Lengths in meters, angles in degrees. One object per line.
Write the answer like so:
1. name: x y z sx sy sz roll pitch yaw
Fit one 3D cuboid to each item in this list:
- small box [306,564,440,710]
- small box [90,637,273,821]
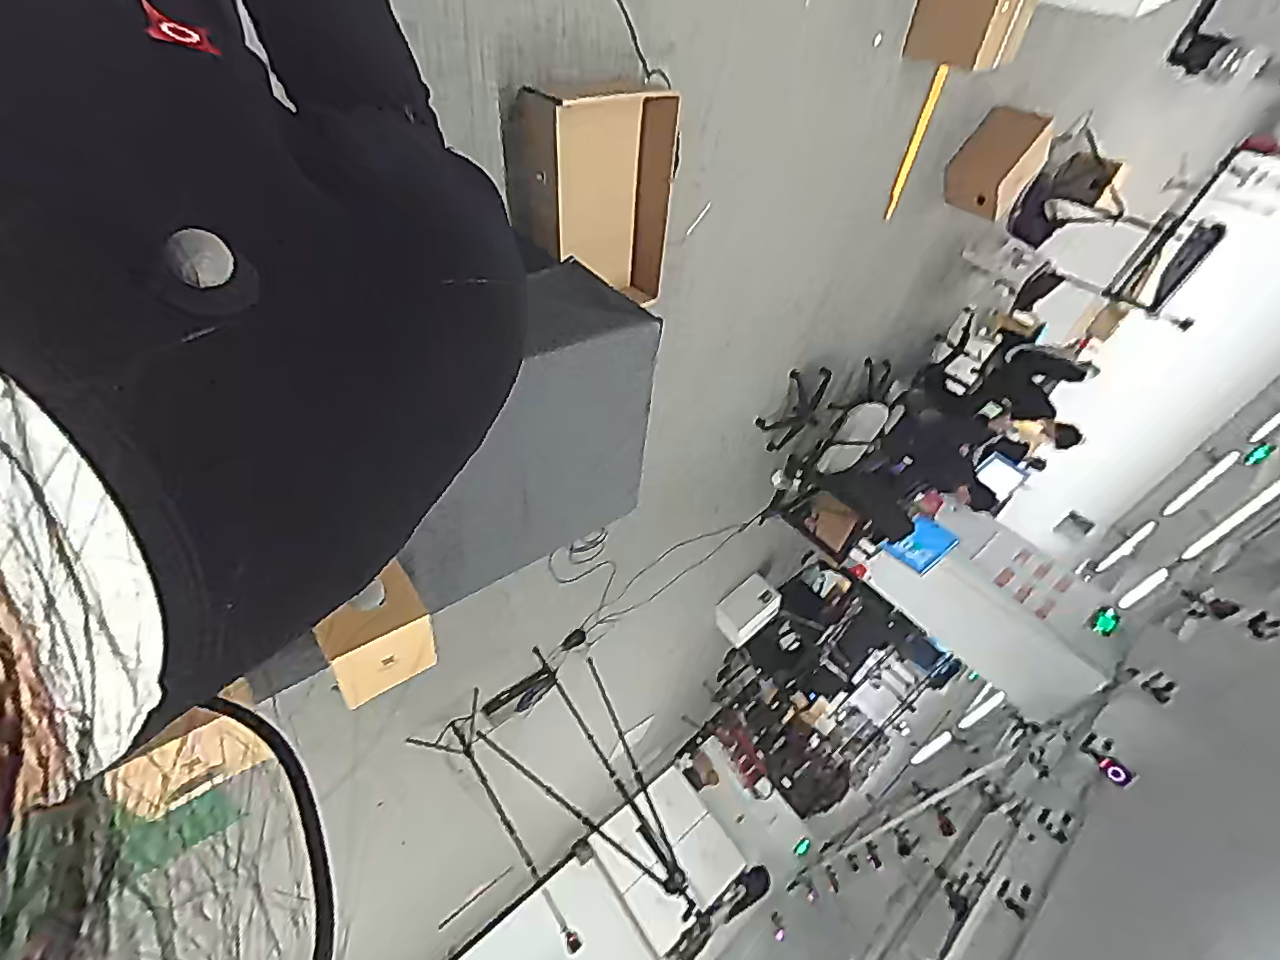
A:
1. small box: -0.496 0.281 1.012 0.168 0.176 0.179 -24 143 -34
2. small box: -0.716 0.385 0.854 0.168 0.176 0.179 -25 142 -34
